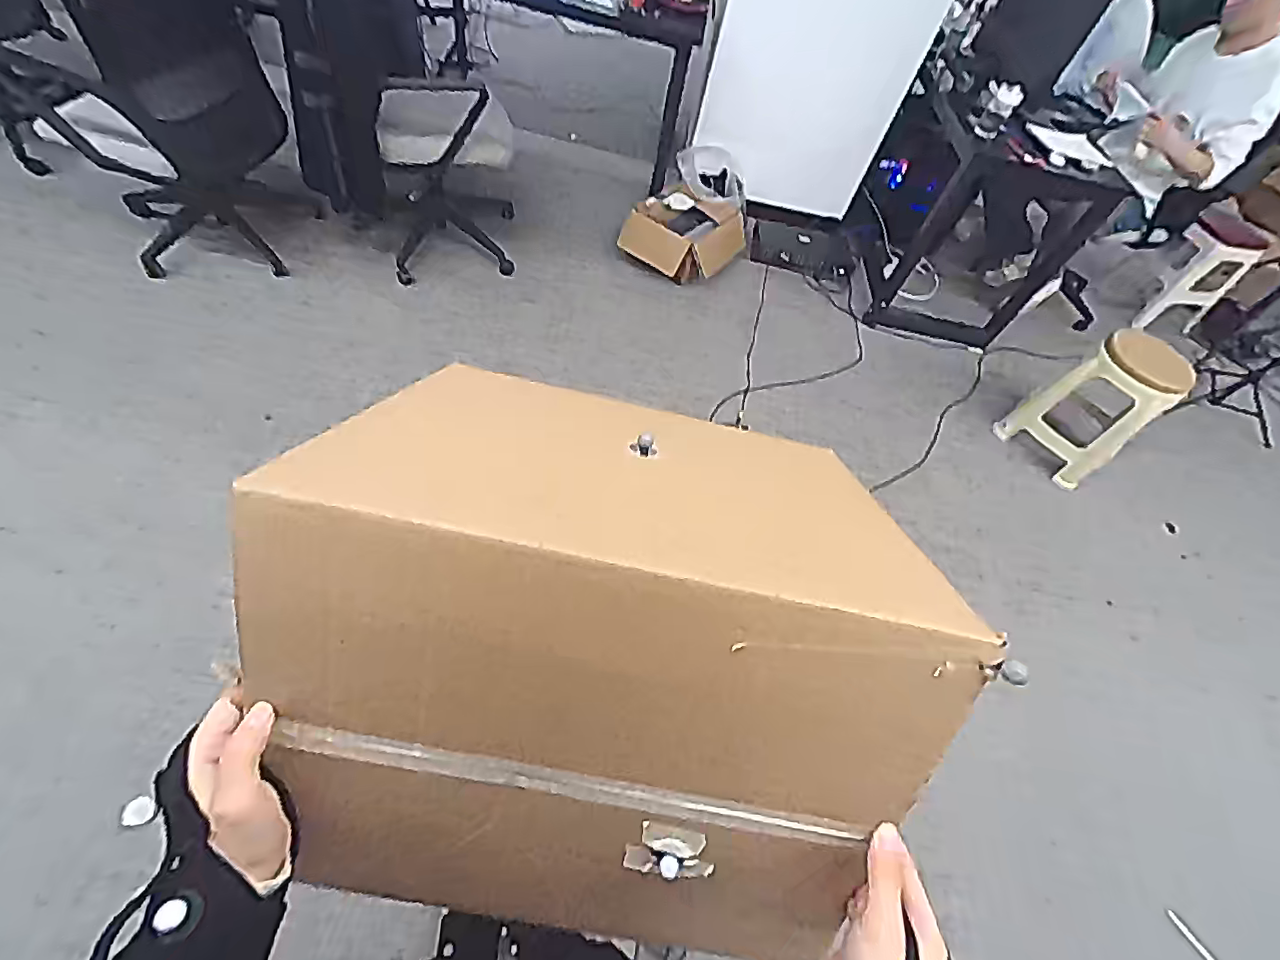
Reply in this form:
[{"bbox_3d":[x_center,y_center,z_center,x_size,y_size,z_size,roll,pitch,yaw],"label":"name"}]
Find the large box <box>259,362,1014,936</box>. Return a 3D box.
[{"bbox_3d":[-0.021,0.106,0.469,0.408,0.320,0.320,11,23,-4],"label":"large box"}]
